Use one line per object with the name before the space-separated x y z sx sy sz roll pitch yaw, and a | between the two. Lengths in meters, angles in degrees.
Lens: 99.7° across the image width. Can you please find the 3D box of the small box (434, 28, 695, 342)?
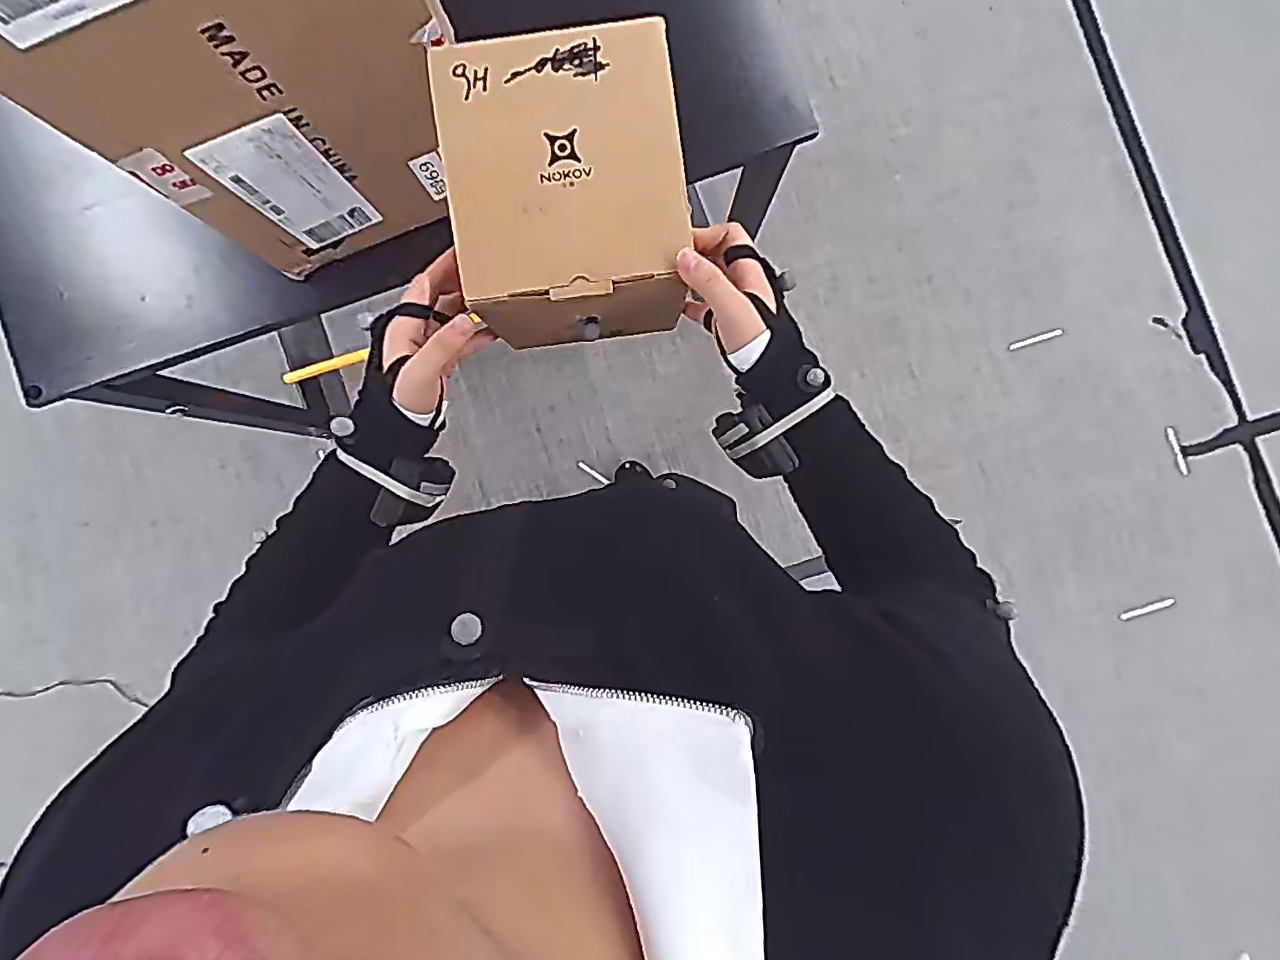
small box | -0.051 -0.220 0.456 0.168 0.176 0.179 -8 94 -1
